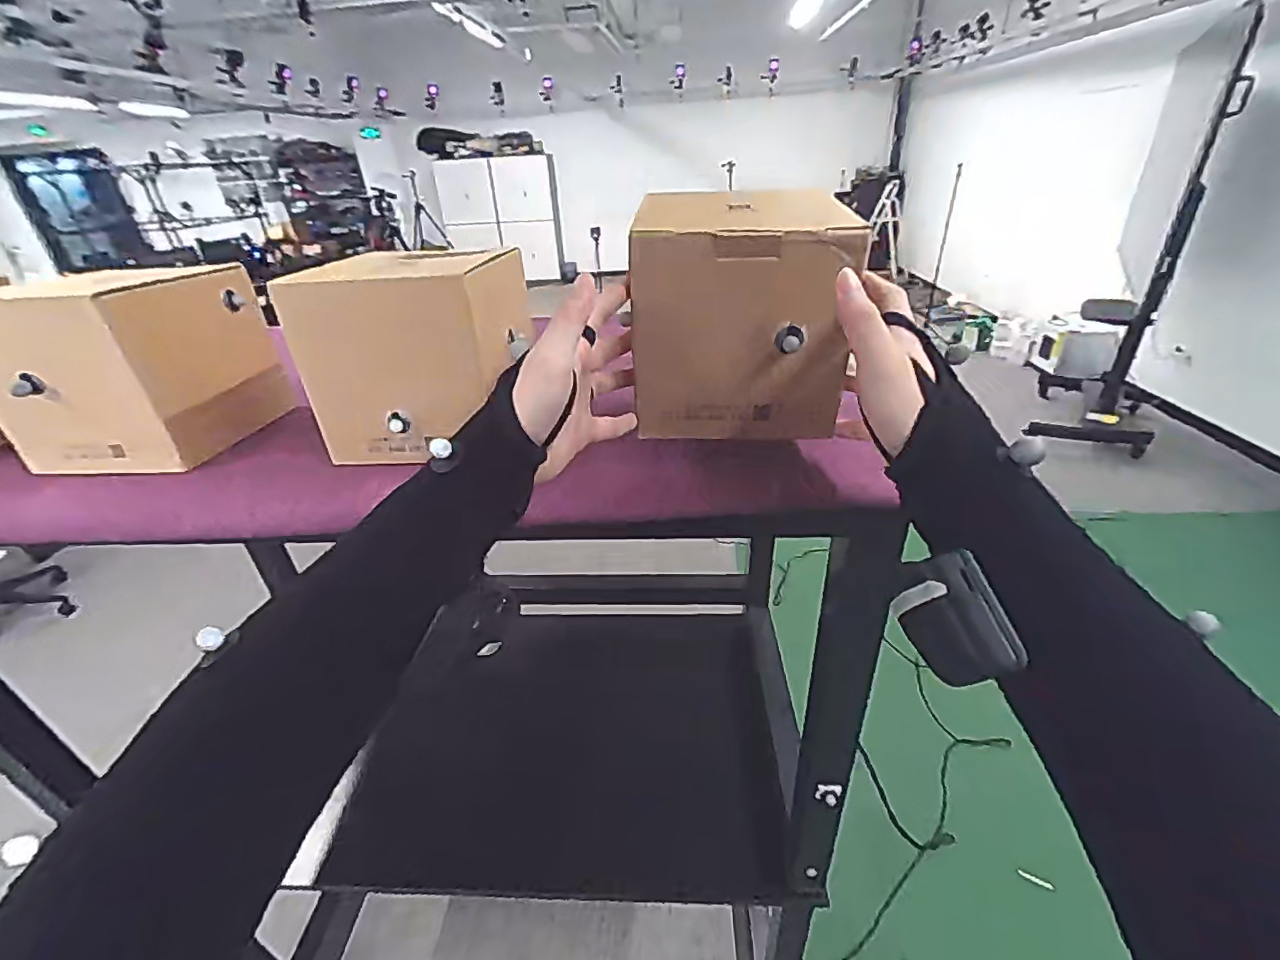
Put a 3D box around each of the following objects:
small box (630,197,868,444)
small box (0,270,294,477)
[{"bbox_3d":[0.086,-0.143,0.482,0.168,0.176,0.179,2,35,5],"label":"small box"},{"bbox_3d":[-0.502,-0.111,0.556,0.168,0.176,0.179,-1,28,5],"label":"small box"}]
